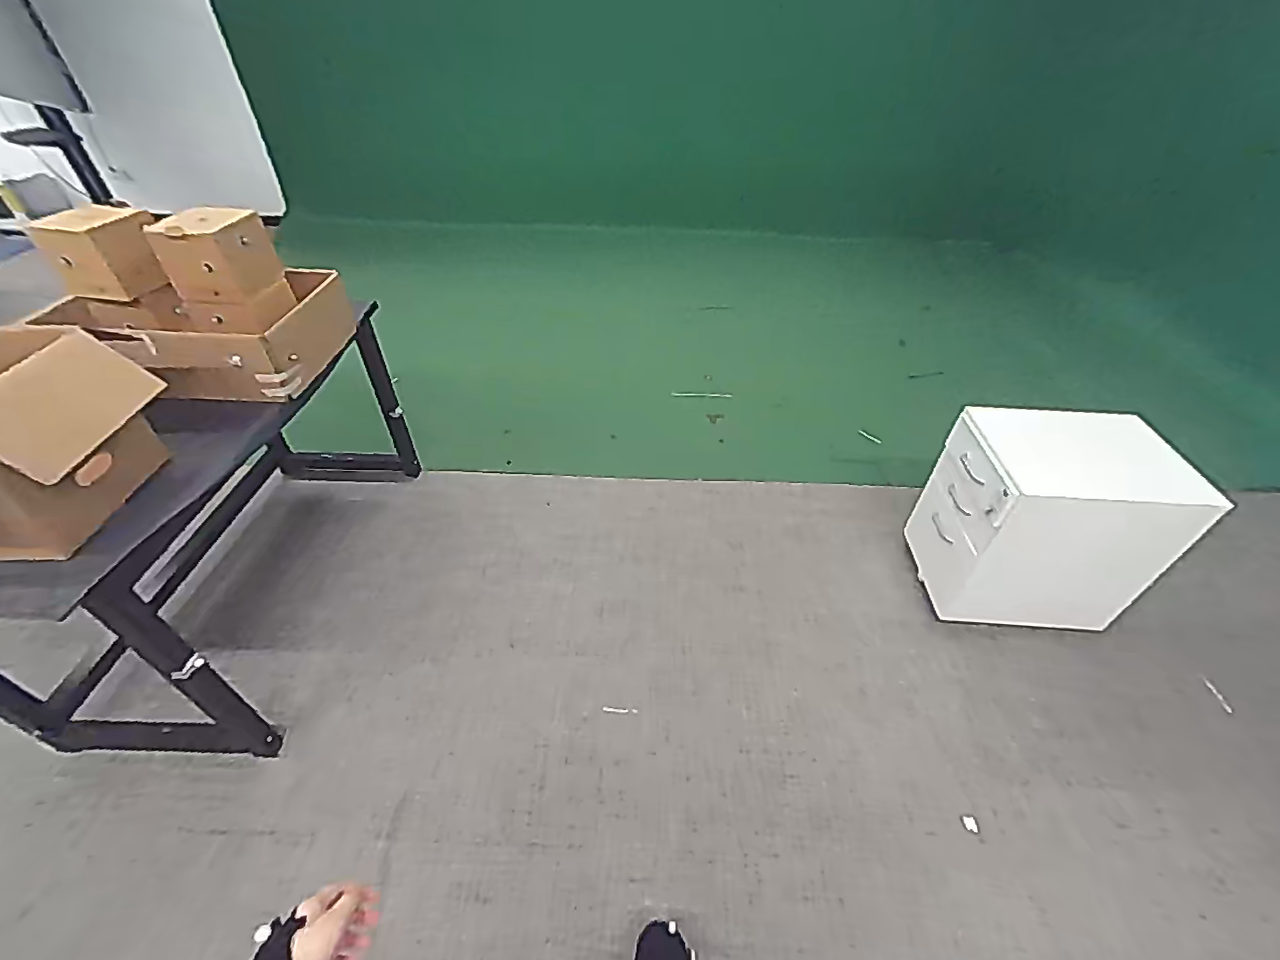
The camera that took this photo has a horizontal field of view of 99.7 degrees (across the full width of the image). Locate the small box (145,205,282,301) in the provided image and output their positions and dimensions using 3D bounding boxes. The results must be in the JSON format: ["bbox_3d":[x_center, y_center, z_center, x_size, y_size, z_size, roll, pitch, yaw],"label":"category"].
[{"bbox_3d":[-1.021,-0.551,1.317,0.168,0.176,0.179,5,42,3],"label":"small box"}]

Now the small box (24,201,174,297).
[{"bbox_3d":[-1.291,-0.561,1.317,0.168,0.176,0.179,8,42,5],"label":"small box"}]
